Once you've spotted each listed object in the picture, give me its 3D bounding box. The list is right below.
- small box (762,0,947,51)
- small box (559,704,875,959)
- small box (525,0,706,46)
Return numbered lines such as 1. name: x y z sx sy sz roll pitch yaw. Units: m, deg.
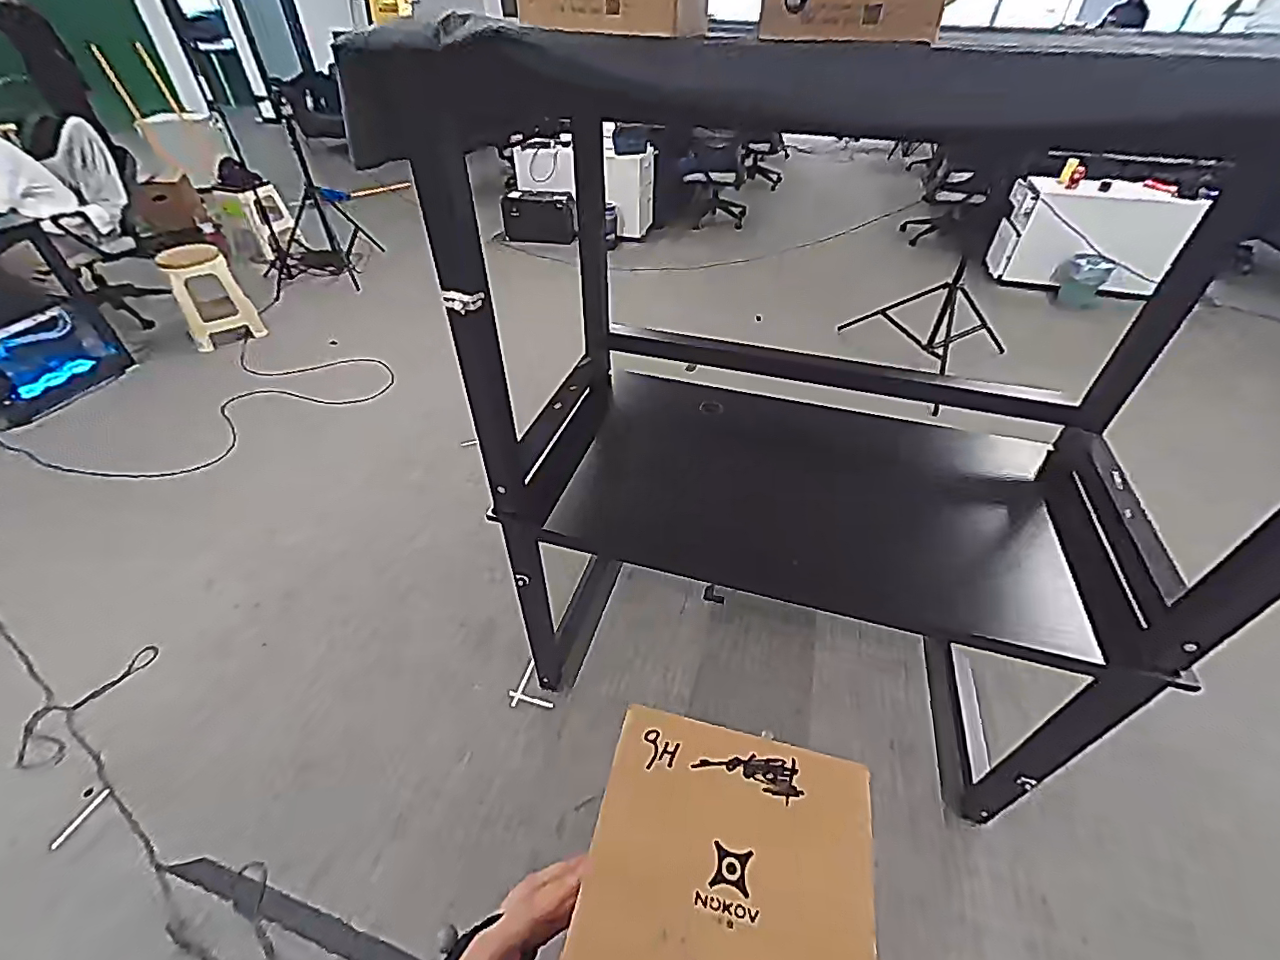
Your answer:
1. small box: 0.220 -0.525 0.523 0.168 0.176 0.179 13 40 13
2. small box: 0.048 0.287 0.369 0.168 0.176 0.179 12 49 9
3. small box: -0.019 -0.557 0.557 0.168 0.176 0.179 12 41 11
